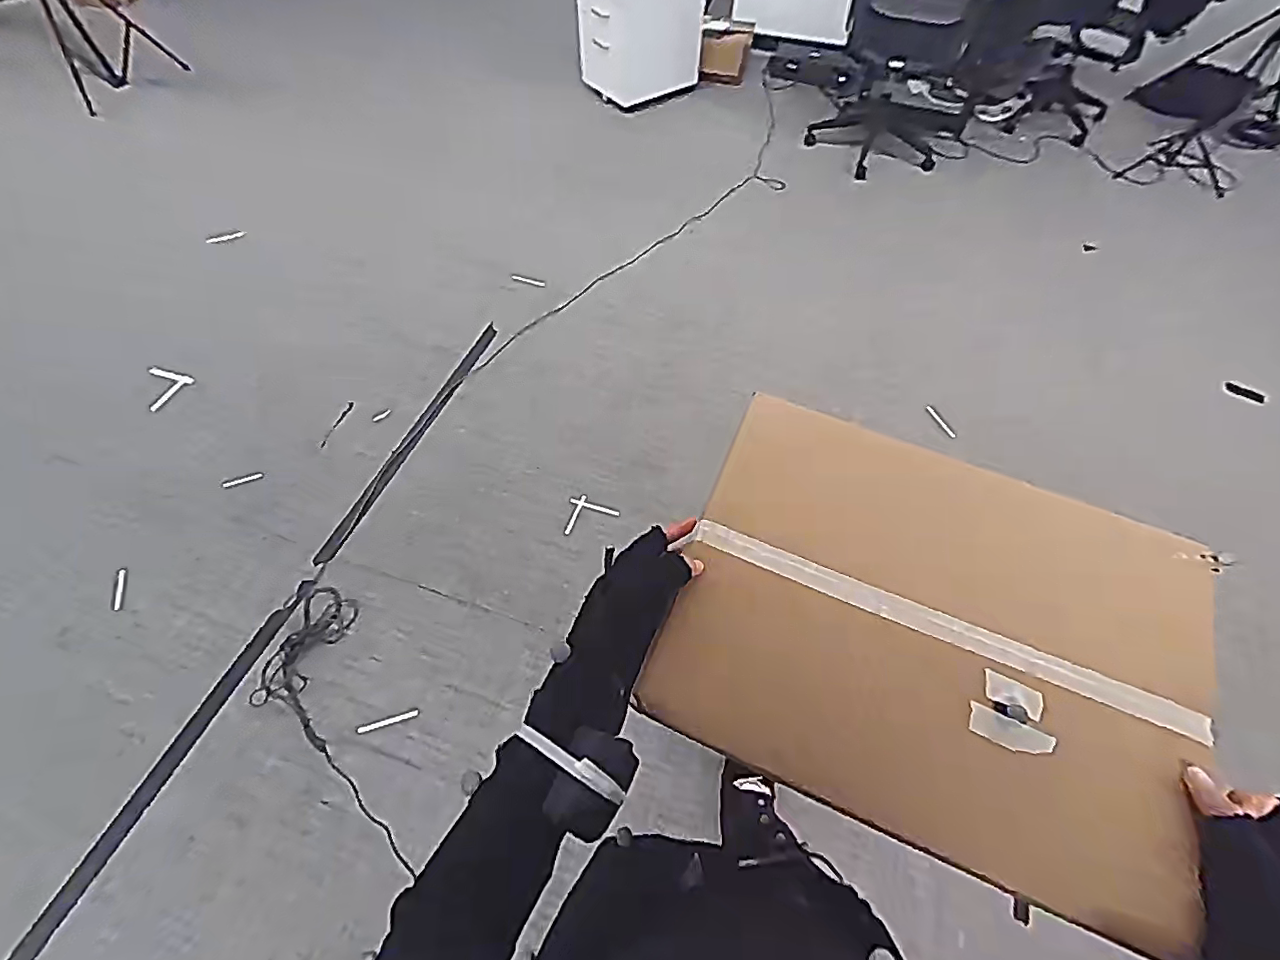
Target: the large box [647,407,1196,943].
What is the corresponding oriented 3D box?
[{"bbox_3d":[0.246,0.180,0.591,0.408,0.320,0.320,22,69,11],"label":"large box"}]
